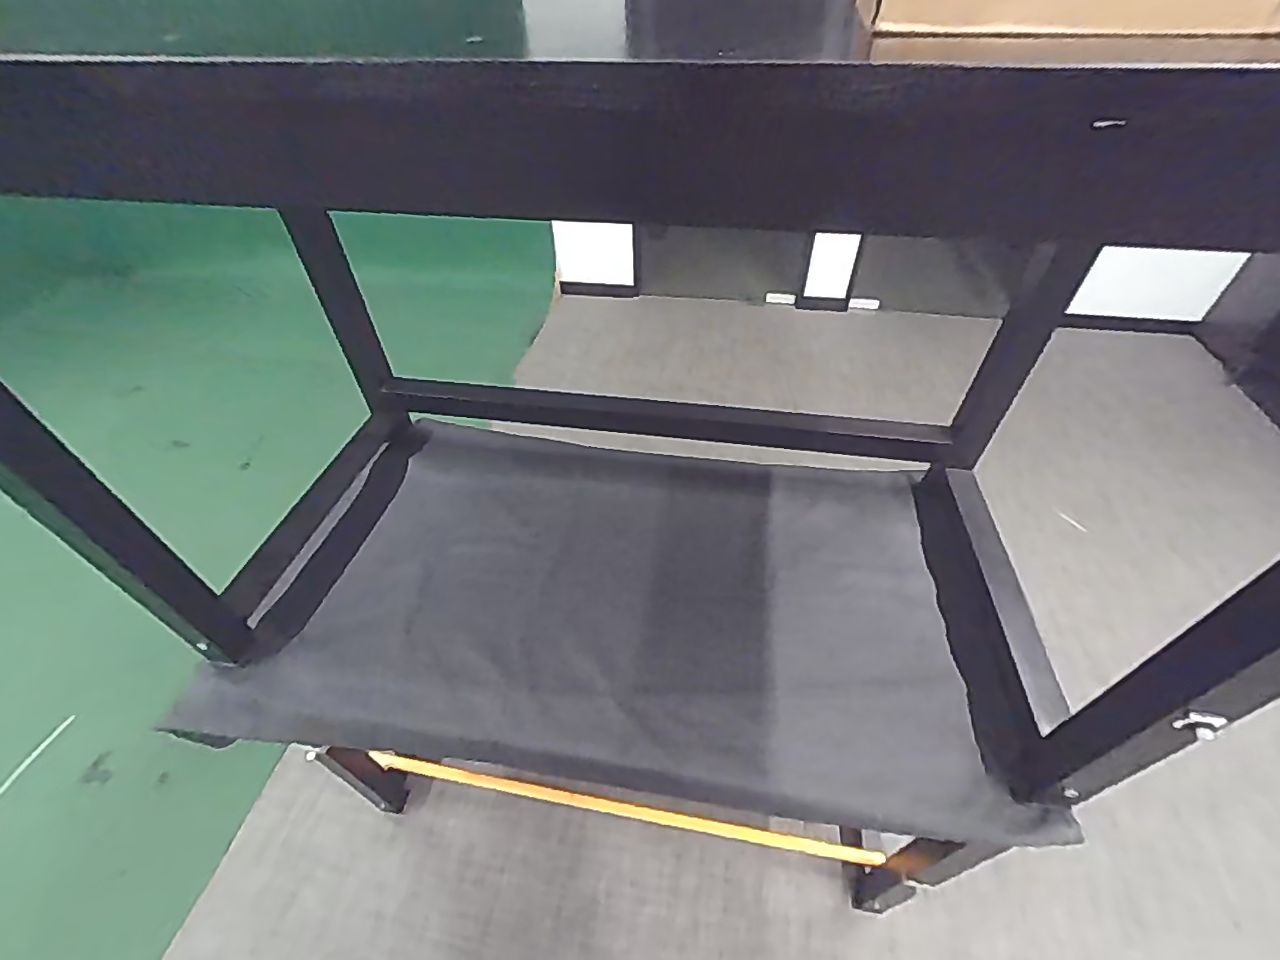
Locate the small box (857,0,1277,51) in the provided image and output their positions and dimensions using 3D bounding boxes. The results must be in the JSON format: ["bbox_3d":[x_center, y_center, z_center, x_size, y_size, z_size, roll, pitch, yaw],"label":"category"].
[{"bbox_3d":[0.204,-0.313,0.243,0.168,0.176,0.179,9,46,11],"label":"small box"}]
